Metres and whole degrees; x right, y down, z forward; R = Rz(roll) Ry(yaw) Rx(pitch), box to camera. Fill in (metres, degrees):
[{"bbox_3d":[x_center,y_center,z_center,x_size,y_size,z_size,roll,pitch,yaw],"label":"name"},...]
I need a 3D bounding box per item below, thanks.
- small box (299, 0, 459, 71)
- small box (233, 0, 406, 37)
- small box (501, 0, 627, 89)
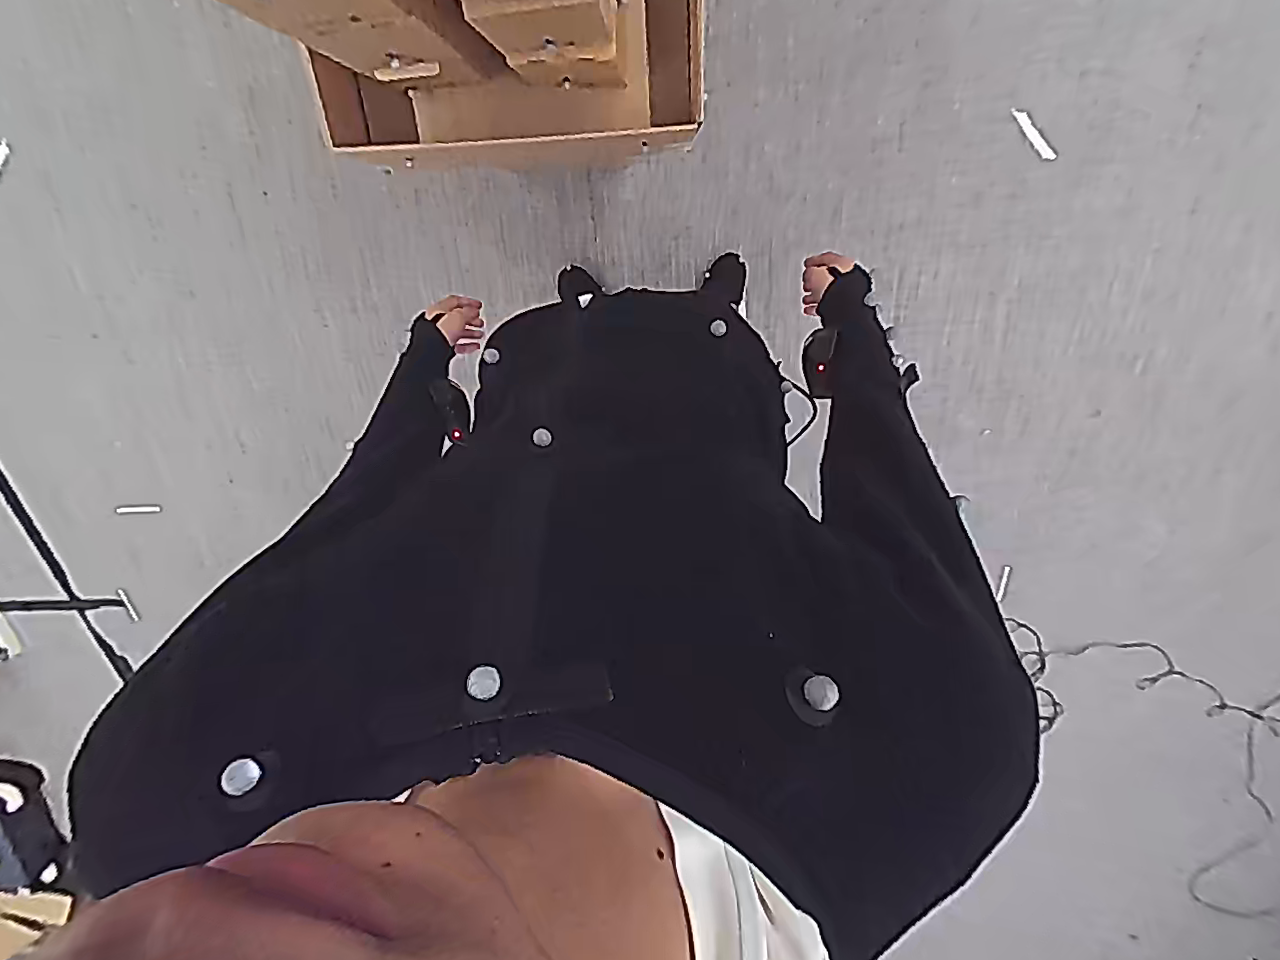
[{"bbox_3d":[-0.353,-0.660,0.693,0.168,0.176,0.179,-4,115,5],"label":"small box"},{"bbox_3d":[-0.366,-0.590,0.543,0.168,0.176,0.179,-4,113,6],"label":"small box"},{"bbox_3d":[-0.111,-0.729,0.832,0.168,0.176,0.179,1,116,5],"label":"small box"}]
